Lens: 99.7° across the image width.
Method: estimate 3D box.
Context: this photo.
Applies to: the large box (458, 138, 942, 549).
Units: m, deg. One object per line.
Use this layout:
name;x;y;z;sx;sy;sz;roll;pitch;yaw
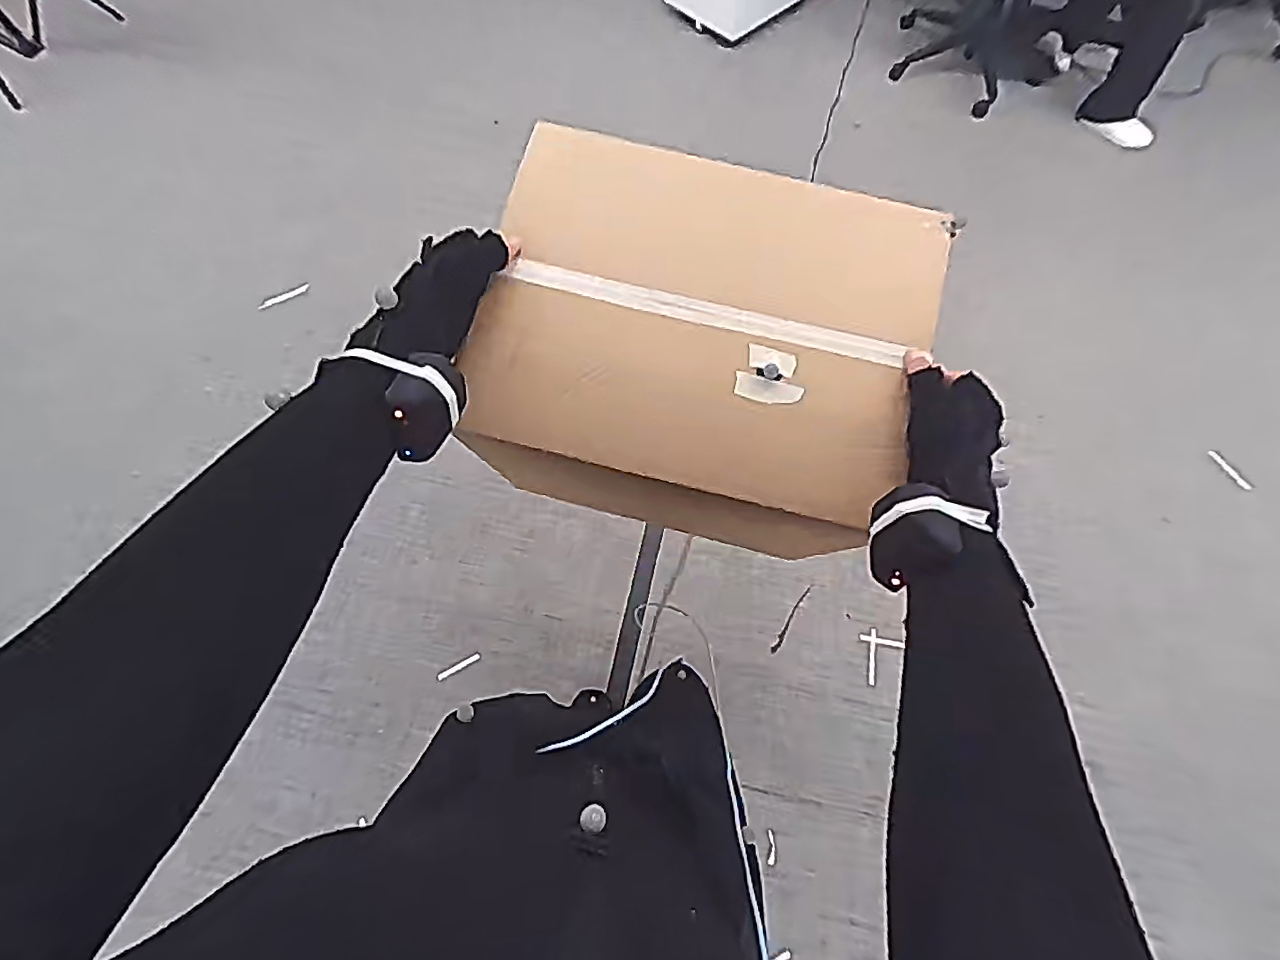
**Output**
large box;0.061;-0.121;0.644;0.408;0.320;0.320;15;80;2
